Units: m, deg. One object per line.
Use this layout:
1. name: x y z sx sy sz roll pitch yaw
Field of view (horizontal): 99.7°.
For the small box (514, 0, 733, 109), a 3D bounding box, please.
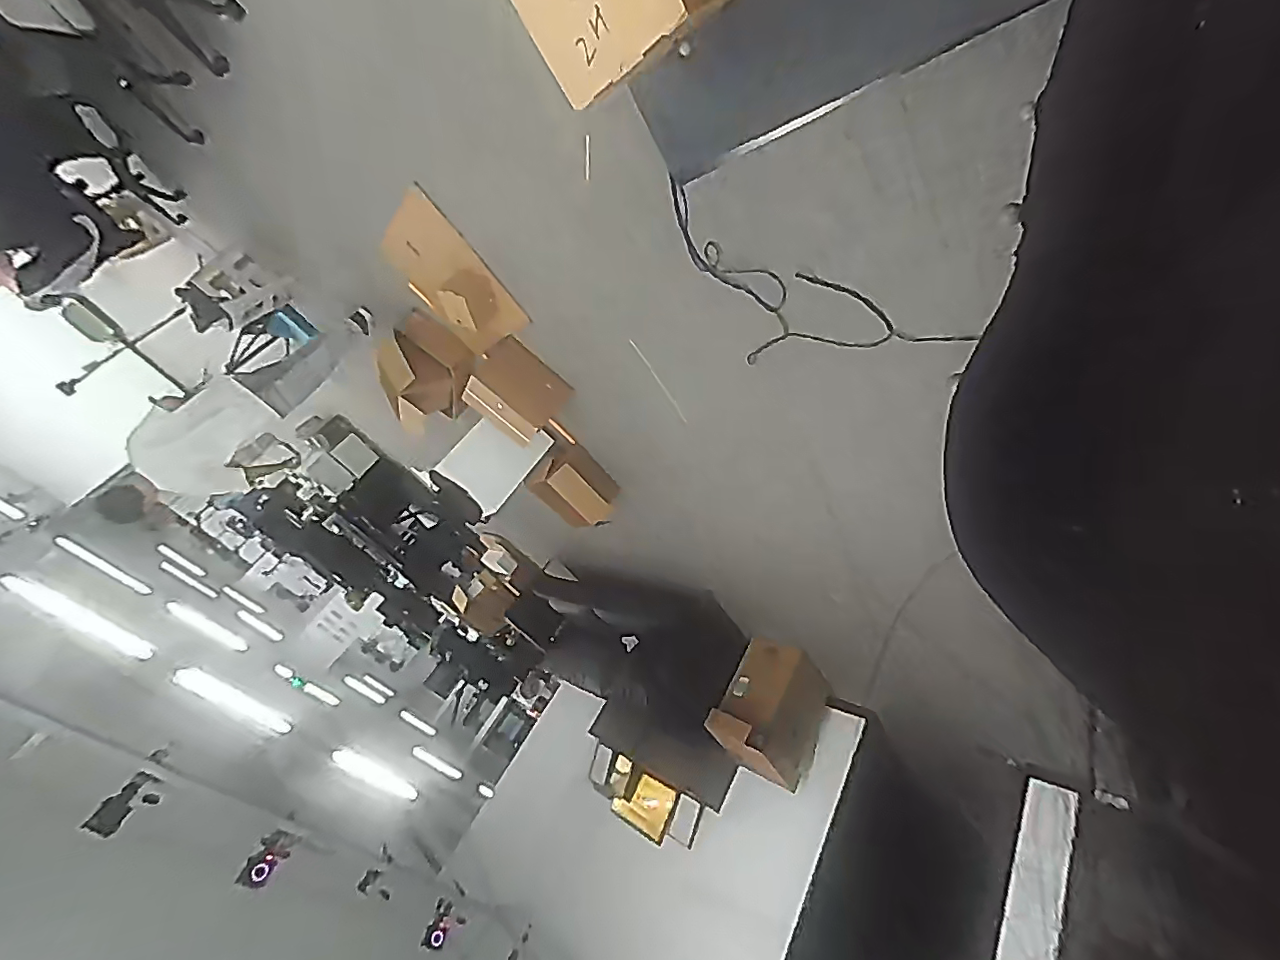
1. small box: -0.015 -0.511 0.517 0.168 0.176 0.179 -2 134 47
